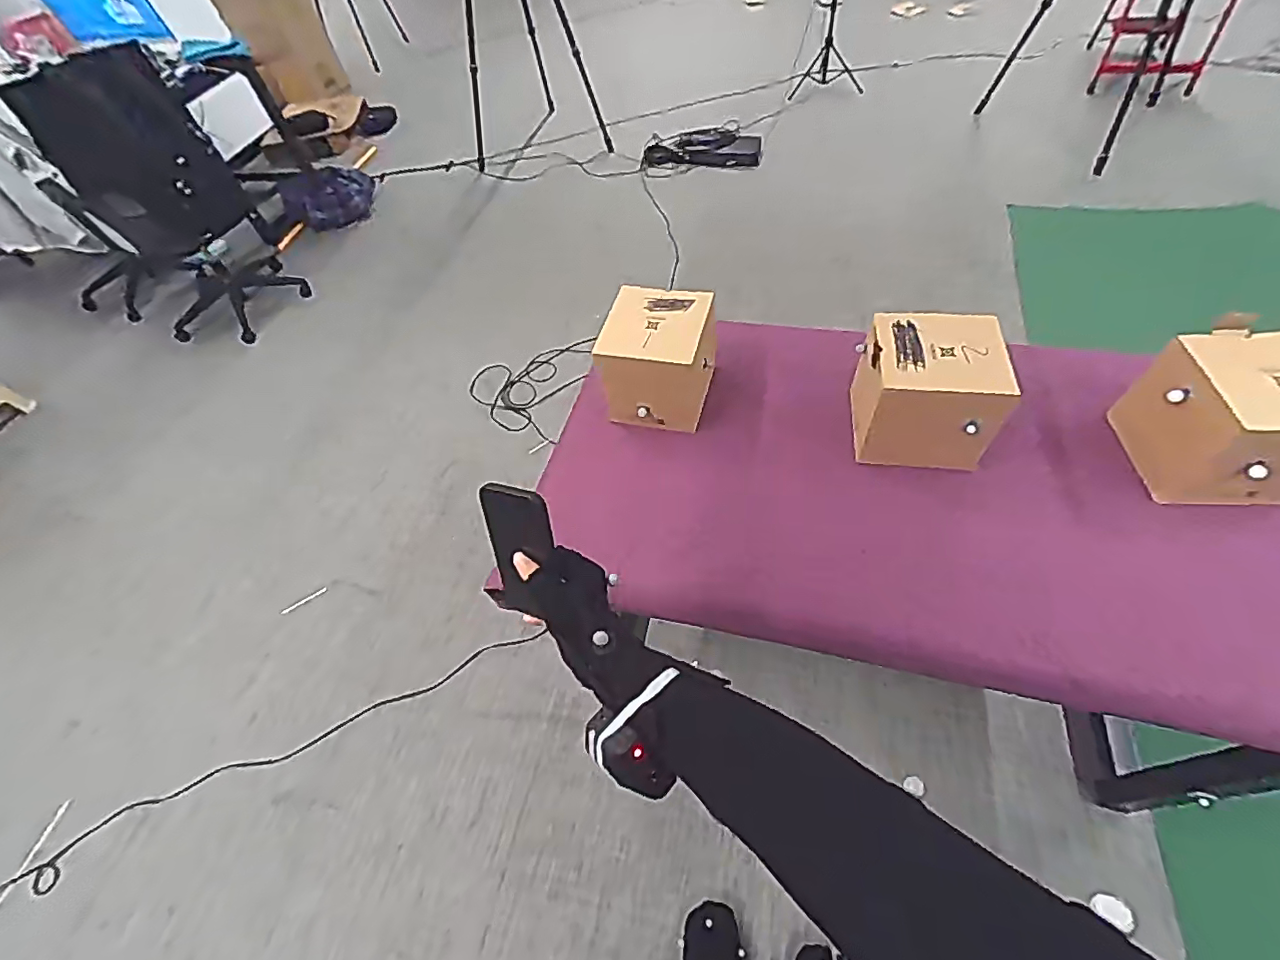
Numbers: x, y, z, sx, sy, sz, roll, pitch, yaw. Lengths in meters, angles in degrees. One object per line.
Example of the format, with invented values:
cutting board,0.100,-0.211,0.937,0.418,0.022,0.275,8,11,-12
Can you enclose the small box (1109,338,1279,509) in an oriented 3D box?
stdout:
small box,0.811,-0.072,0.744,0.168,0.176,0.179,0,53,8

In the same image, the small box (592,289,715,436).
small box,0.031,-0.203,0.941,0.168,0.176,0.179,10,58,14
